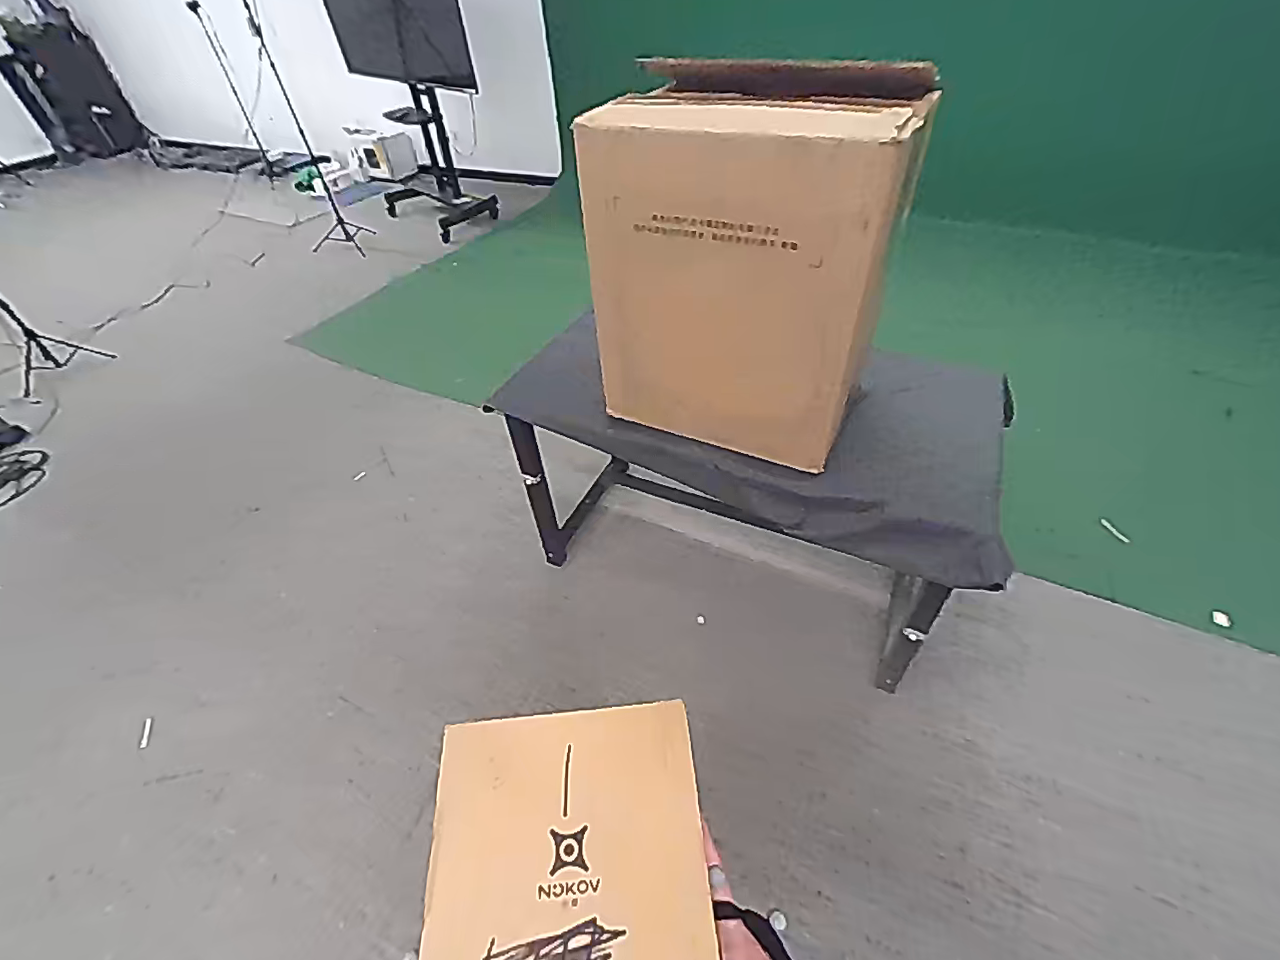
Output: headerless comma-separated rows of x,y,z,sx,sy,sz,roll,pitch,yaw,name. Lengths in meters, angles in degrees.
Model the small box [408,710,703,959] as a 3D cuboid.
-0.045,0.279,0.382,0.168,0.176,0.179,-6,54,-2,small box
